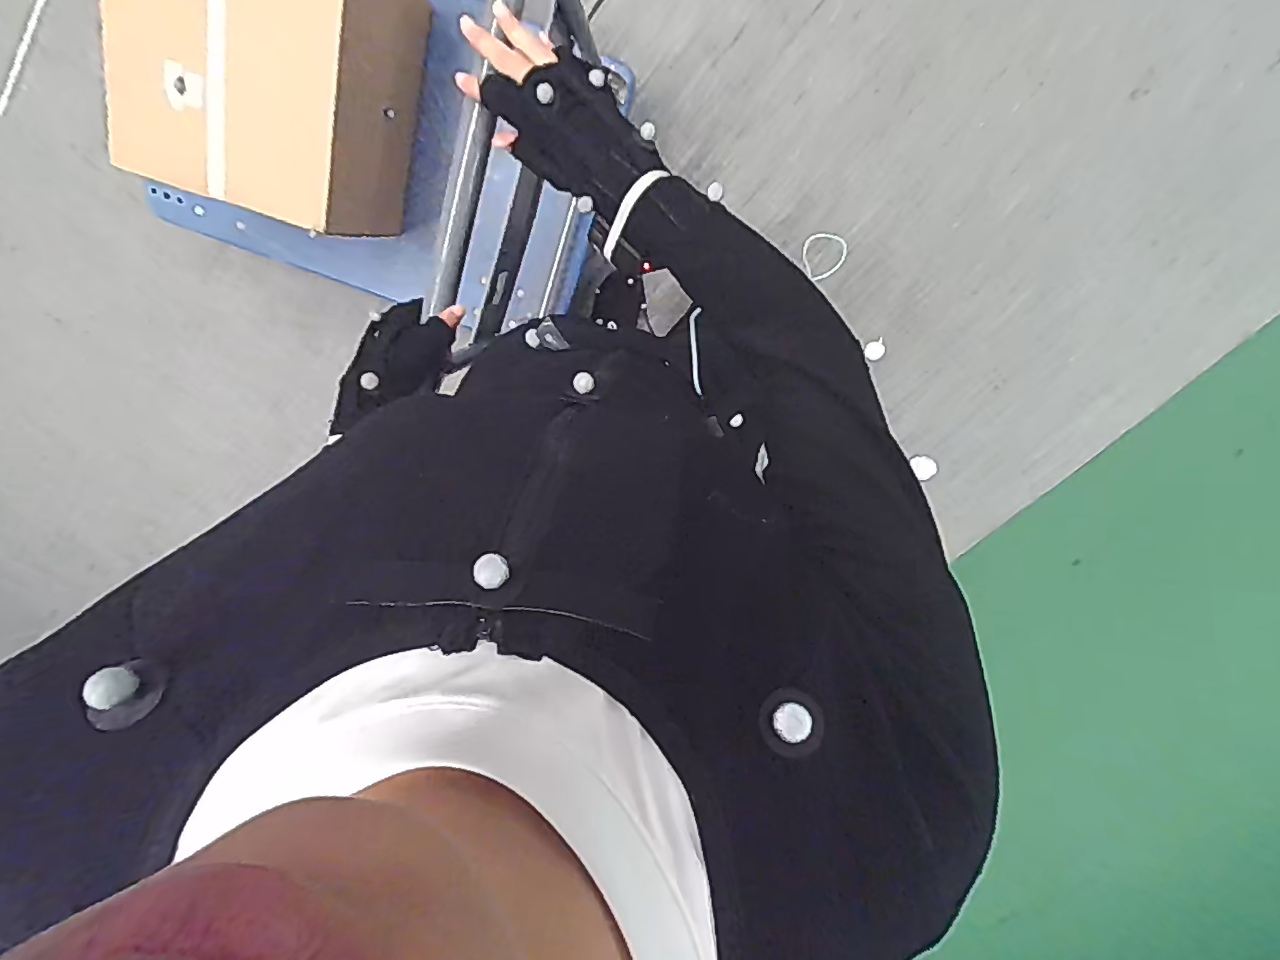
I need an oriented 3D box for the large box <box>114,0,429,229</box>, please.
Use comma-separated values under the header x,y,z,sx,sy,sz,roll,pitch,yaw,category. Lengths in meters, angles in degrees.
x,y,z,sx,sy,sz,roll,pitch,yaw,category
-0.574,-0.675,0.891,0.320,0.320,0.408,17,113,-7,large box
